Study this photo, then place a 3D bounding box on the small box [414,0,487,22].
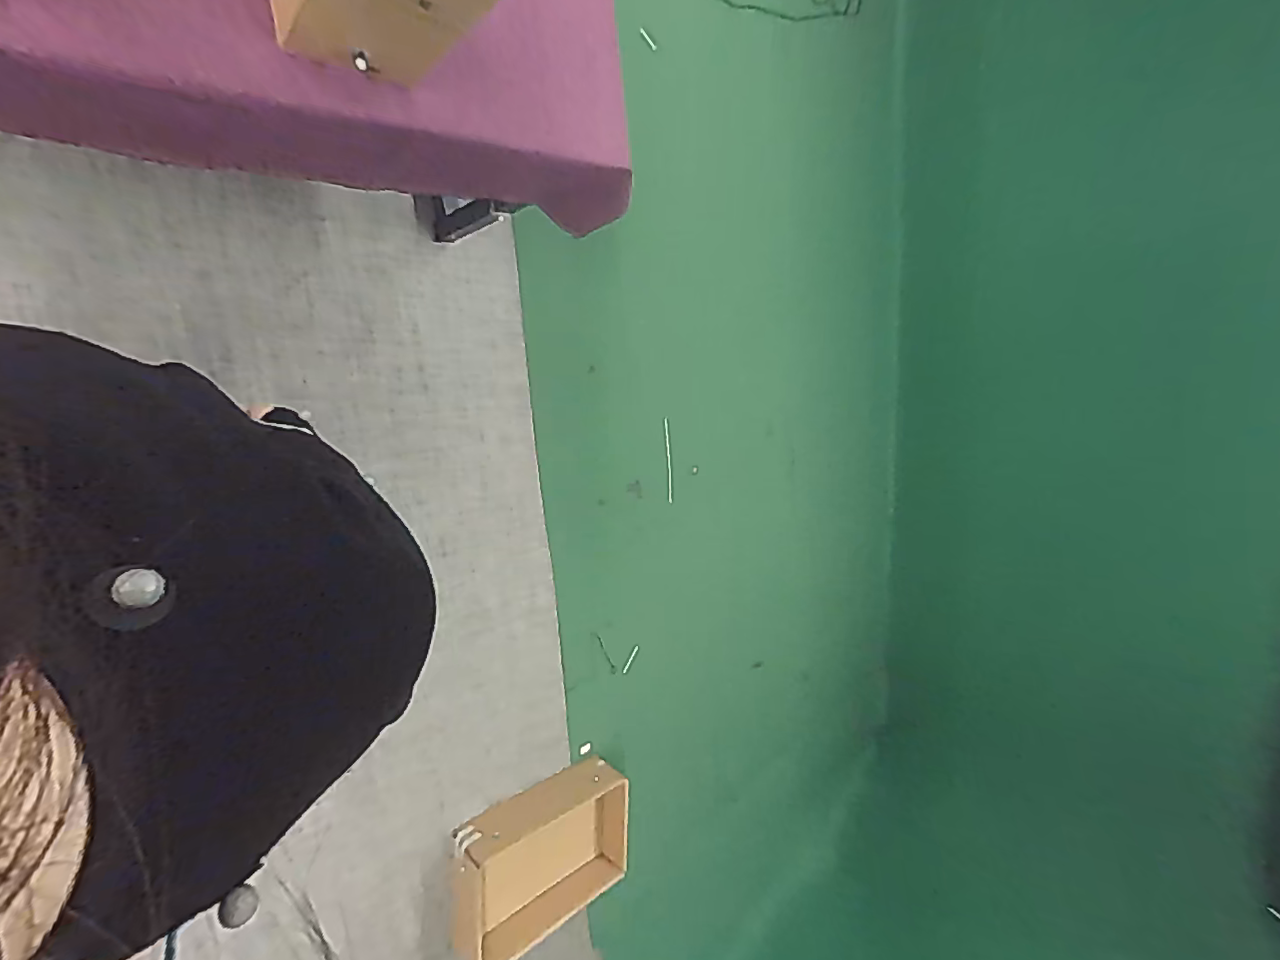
[{"bbox_3d":[-0.207,-0.591,0.508,0.168,0.176,0.179,-12,103,-43],"label":"small box"}]
